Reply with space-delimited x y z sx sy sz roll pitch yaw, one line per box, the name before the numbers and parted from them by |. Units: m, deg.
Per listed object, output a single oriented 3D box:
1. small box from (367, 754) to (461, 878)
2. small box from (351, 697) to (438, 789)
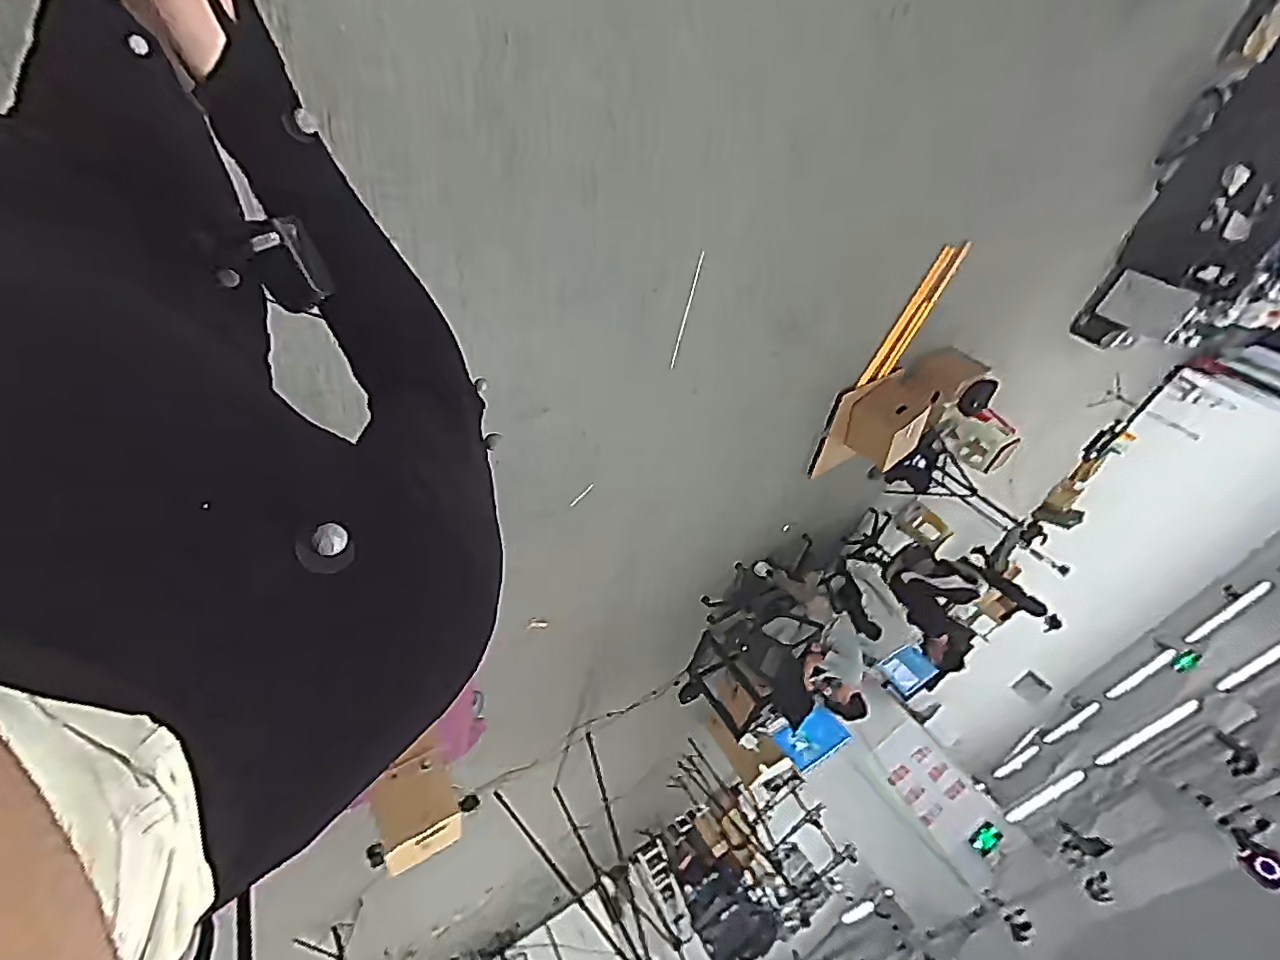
small box | -0.534 0.786 1.281 0.168 0.176 0.179 -16 139 -32
small box | -0.624 0.692 1.381 0.168 0.176 0.179 -15 137 -32
